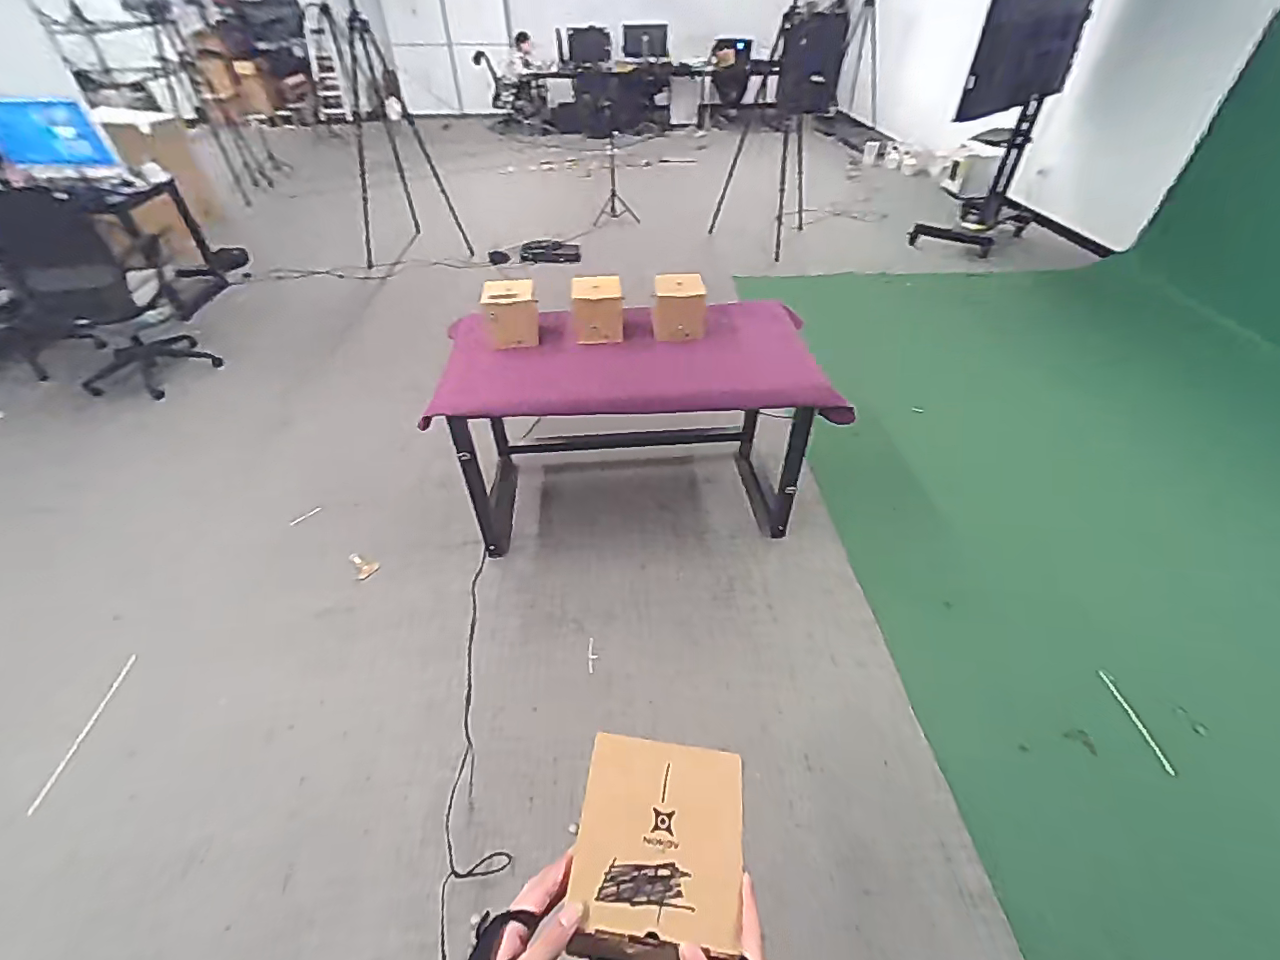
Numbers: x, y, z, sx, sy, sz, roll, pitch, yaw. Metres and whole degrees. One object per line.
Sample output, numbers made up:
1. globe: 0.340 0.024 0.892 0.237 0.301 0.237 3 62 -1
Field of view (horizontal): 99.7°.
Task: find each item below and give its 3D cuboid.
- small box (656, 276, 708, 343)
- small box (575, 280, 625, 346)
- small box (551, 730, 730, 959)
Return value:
1. small box: 0.142 -0.600 1.901 0.168 0.176 0.179 -3 43 -1
2. small box: -0.140 -0.587 1.900 0.168 0.176 0.179 -4 44 -3
3. small box: 0.007 0.408 0.600 0.168 0.176 0.179 6 42 3
